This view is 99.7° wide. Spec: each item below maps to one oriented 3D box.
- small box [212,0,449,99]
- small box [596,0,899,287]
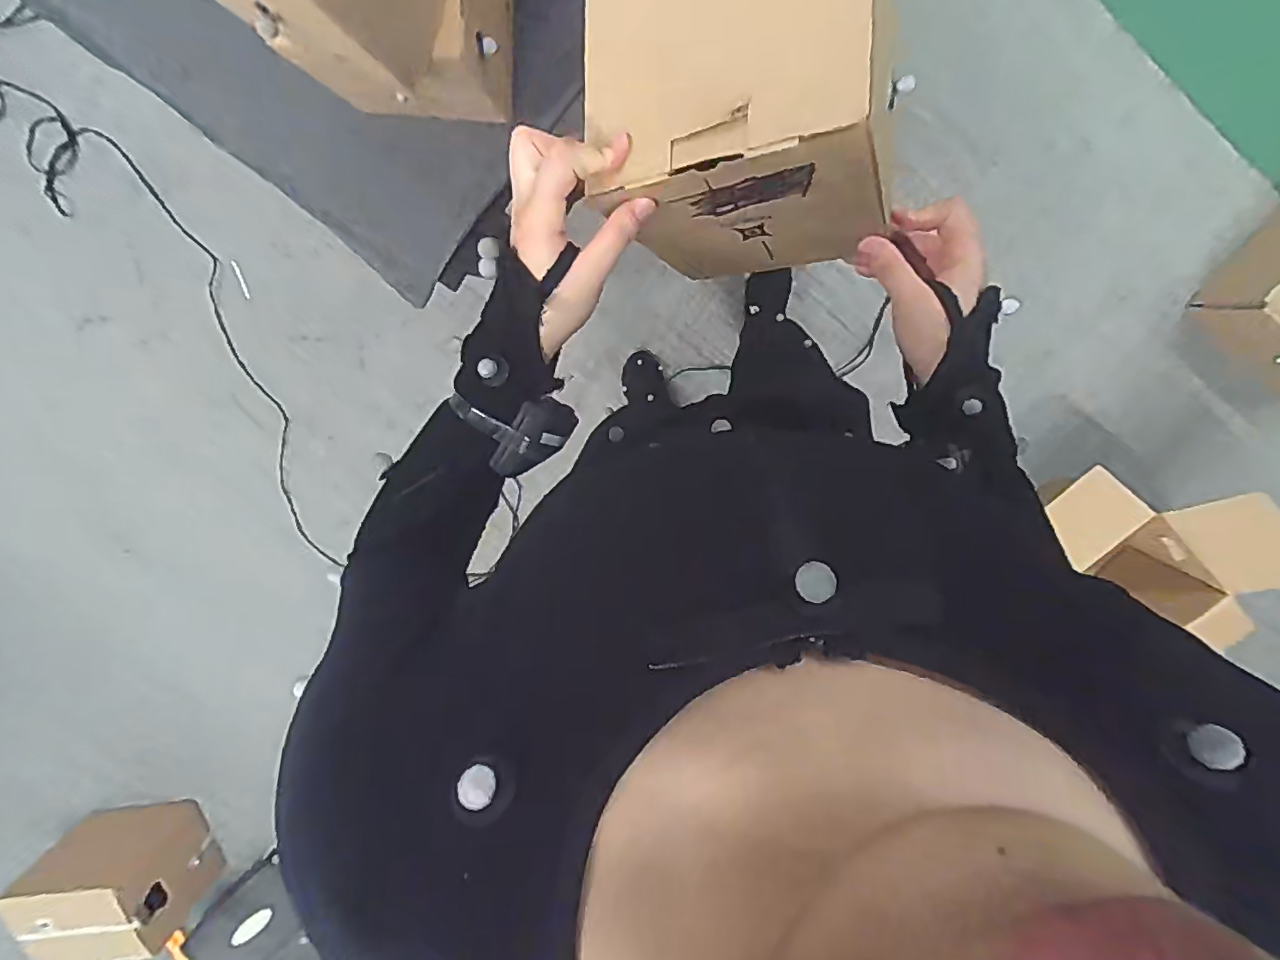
[{"bbox_3d":[-0.239,-0.414,0.379,0.168,0.176,0.179,22,107,-4],"label":"small box"},{"bbox_3d":[0.082,-0.255,0.372,0.168,0.179,0.176,1,91,29],"label":"small box"}]
